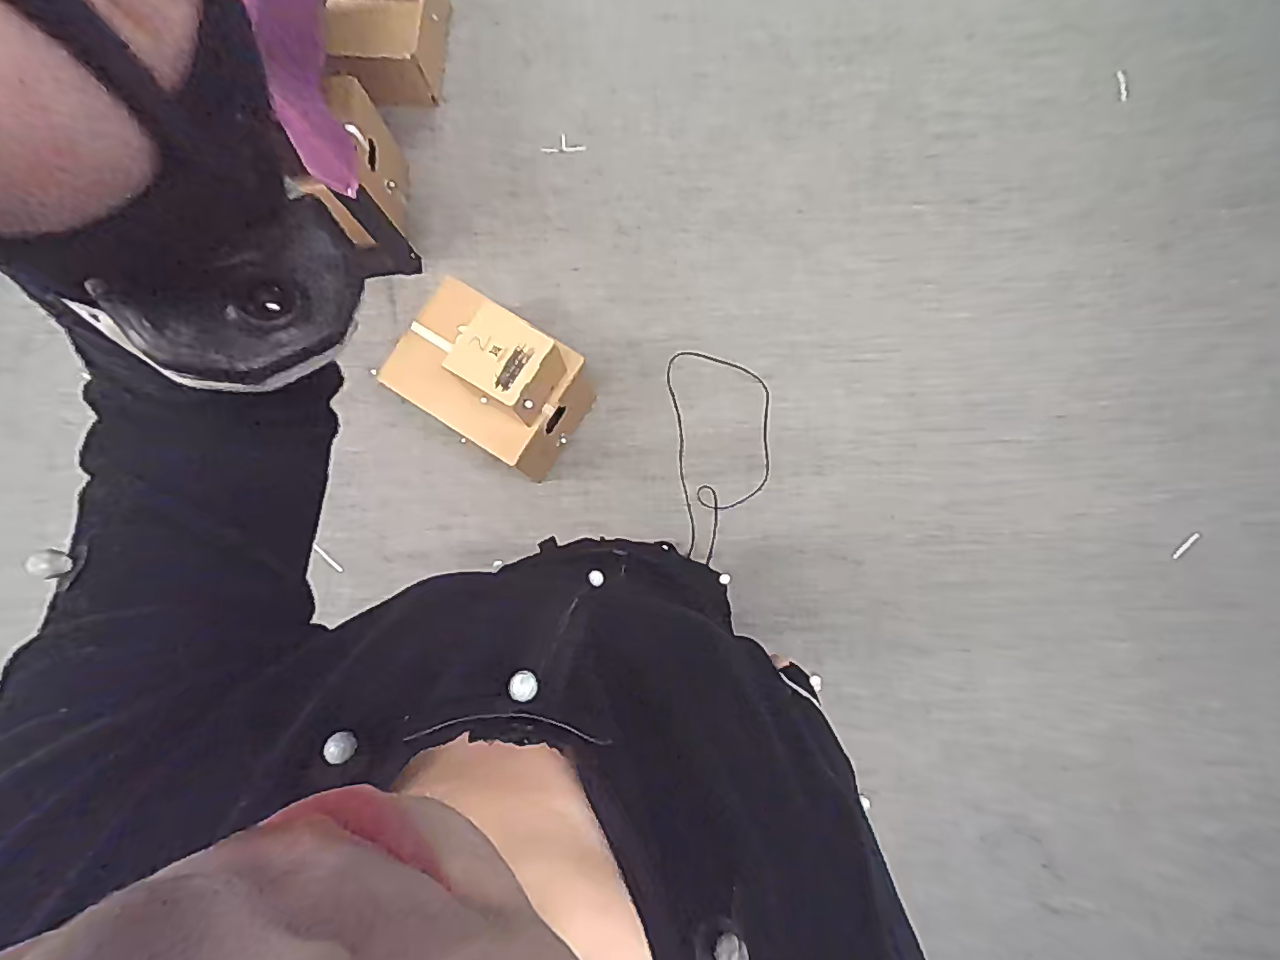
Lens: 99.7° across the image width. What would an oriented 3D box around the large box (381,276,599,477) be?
[{"bbox_3d":[-0.366,-0.249,1.427,0.408,0.320,0.320,32,84,5],"label":"large box"}]
